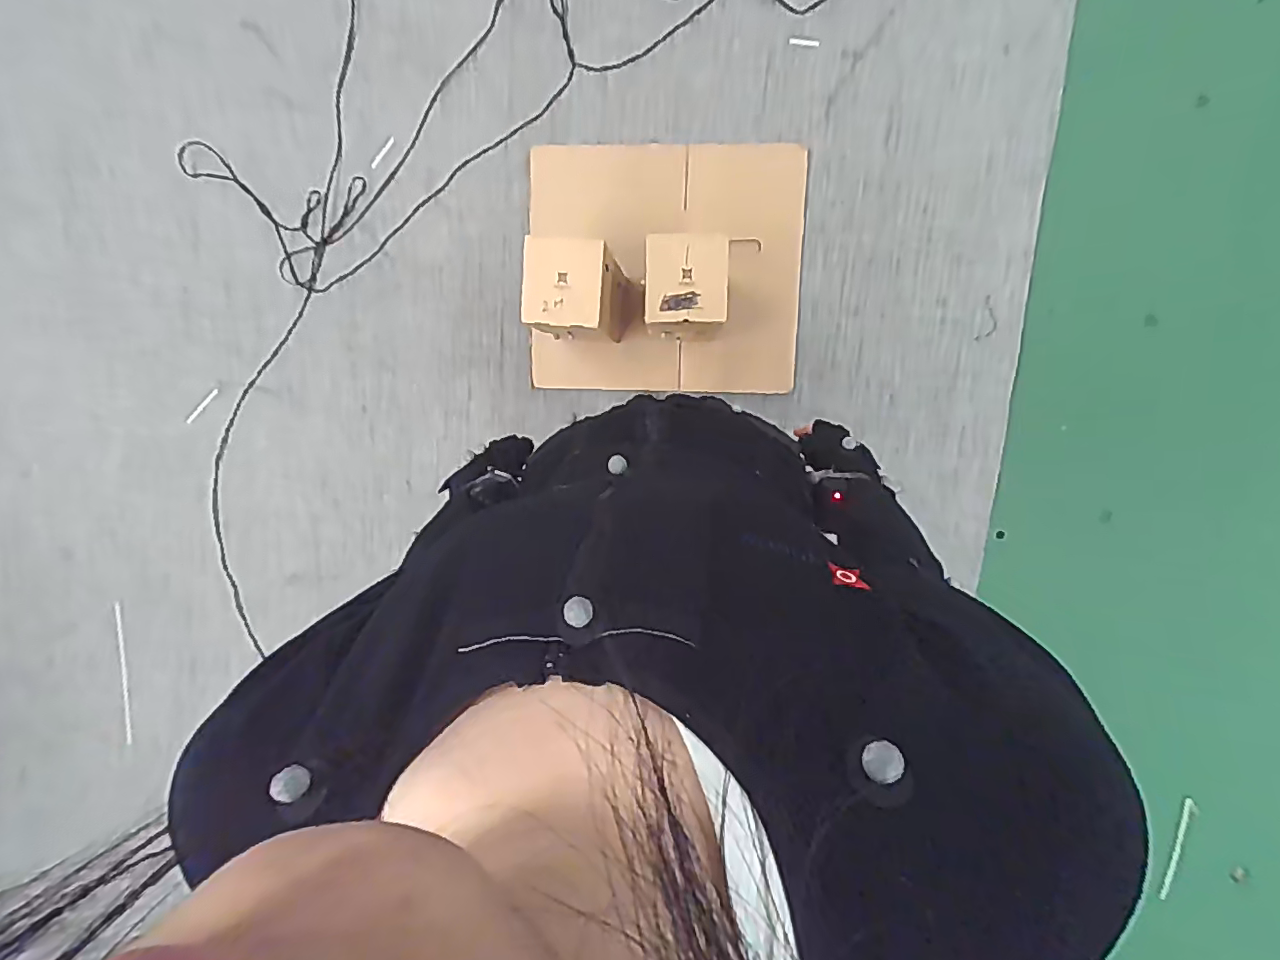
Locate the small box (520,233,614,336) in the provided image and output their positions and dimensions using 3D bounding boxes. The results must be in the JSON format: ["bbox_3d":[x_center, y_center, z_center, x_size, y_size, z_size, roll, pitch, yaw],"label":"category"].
[{"bbox_3d":[-0.152,-0.416,1.173,0.168,0.176,0.179,5,99,5],"label":"small box"}]

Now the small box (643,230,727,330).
[{"bbox_3d":[0.096,-0.418,1.155,0.168,0.176,0.179,1,99,4],"label":"small box"}]

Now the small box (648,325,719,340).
[{"bbox_3d":[0.106,-0.441,1.318,0.168,0.176,0.179,1,100,4],"label":"small box"}]
